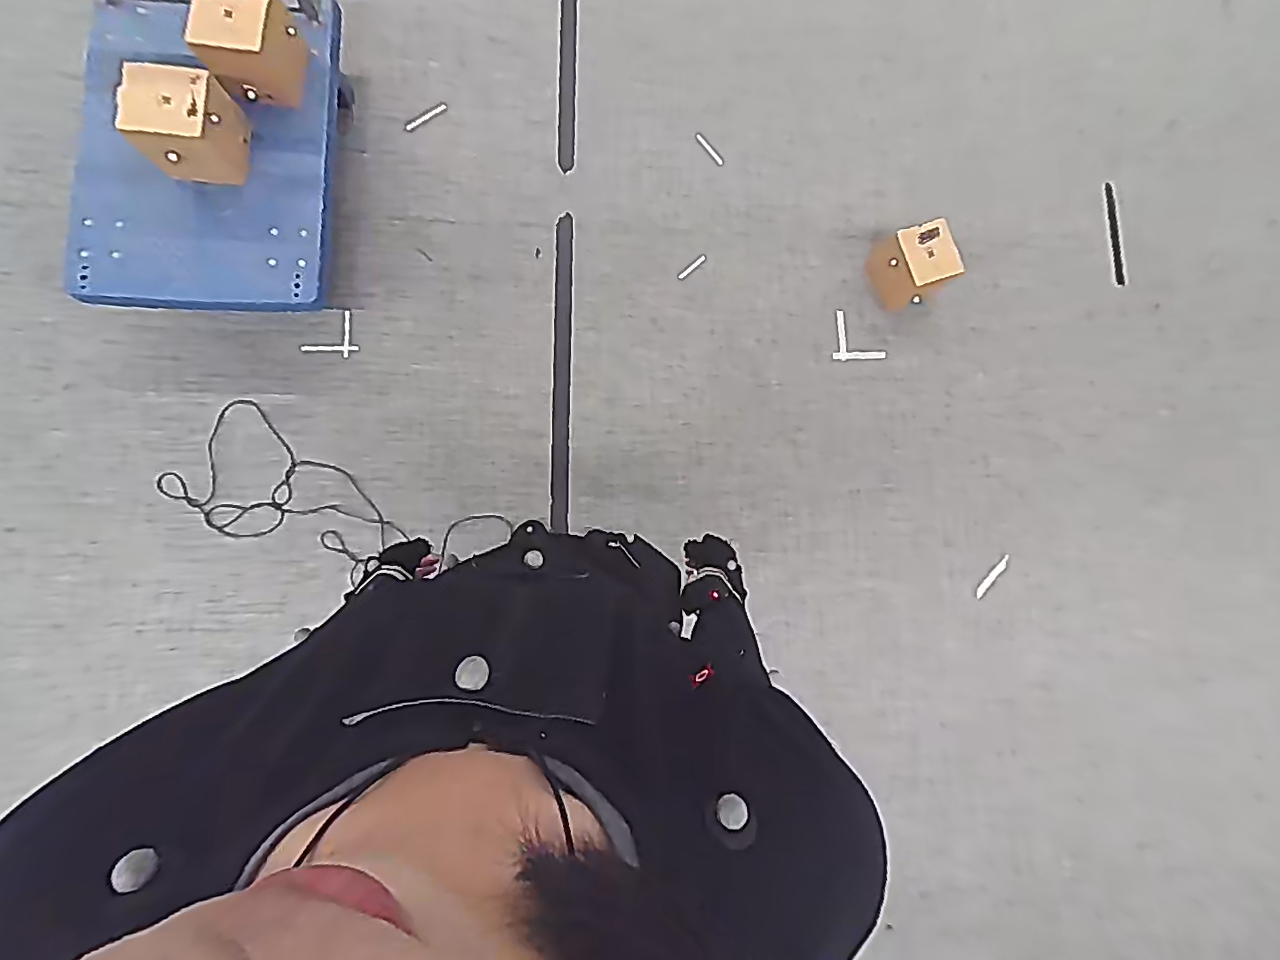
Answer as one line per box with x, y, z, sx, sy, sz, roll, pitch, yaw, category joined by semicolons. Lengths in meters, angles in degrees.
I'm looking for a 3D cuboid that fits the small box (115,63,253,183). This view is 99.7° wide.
-1.060;-0.829;1.270;0.179;0.176;0.168;2;85;-5;small box

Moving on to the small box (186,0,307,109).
-0.939;-1.051;1.309;0.168;0.176;0.179;5;85;-4;small box

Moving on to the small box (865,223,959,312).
0.821;-0.643;1.652;0.168;0.176;0.179;-18;87;-8;small box
